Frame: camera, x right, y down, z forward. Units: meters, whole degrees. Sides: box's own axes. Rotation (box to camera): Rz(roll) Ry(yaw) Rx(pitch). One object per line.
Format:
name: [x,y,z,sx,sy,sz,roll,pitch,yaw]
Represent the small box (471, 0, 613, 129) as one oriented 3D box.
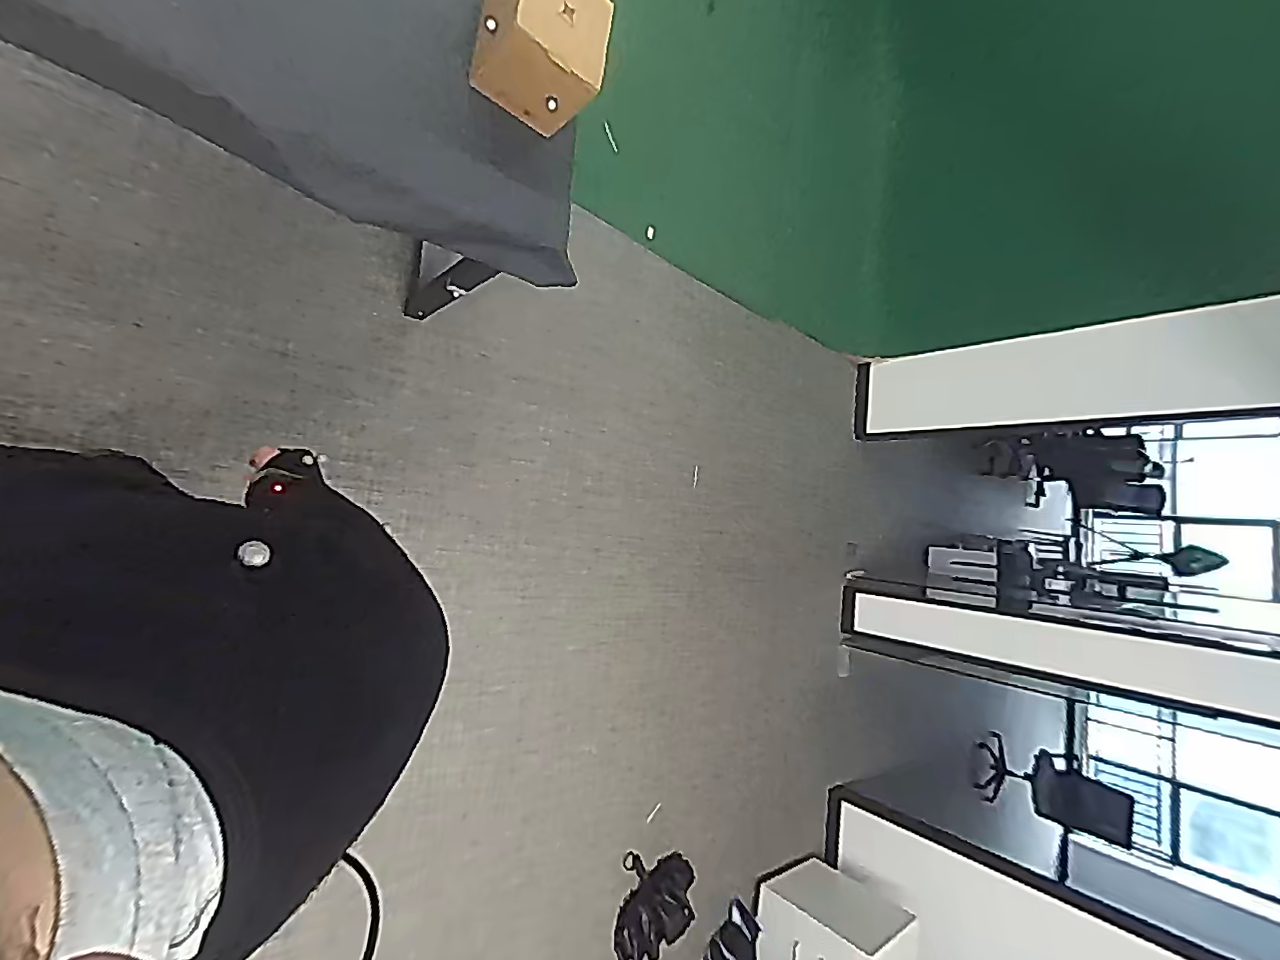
small box: [-0.170,-0.753,0.923,0.168,0.176,0.179,13,80,-42]
